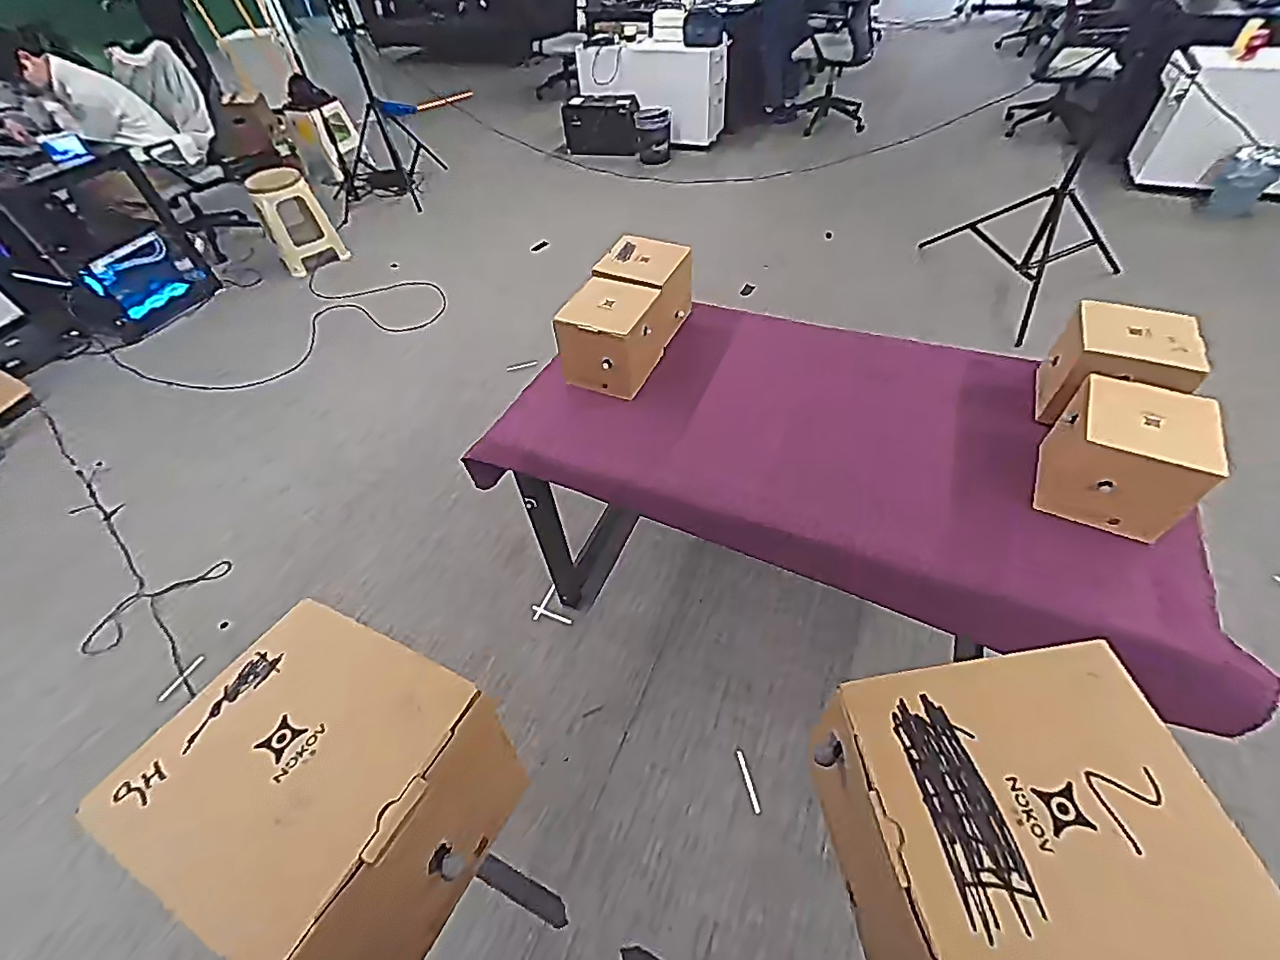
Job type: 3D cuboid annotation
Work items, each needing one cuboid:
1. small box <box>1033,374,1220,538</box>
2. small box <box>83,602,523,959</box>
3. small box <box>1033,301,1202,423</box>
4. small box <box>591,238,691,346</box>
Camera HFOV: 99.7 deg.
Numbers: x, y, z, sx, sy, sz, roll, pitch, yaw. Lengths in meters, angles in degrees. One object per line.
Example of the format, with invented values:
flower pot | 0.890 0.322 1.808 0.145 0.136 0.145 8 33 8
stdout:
small box | 0.762 -0.036 0.866 0.168 0.176 0.179 20 53 22
small box | -0.207 0.225 0.388 0.179 0.176 0.168 18 47 20
small box | 0.853 -0.198 0.989 0.179 0.176 0.168 18 54 18
small box | 0.007 -0.438 1.266 0.179 0.176 0.168 19 56 18
